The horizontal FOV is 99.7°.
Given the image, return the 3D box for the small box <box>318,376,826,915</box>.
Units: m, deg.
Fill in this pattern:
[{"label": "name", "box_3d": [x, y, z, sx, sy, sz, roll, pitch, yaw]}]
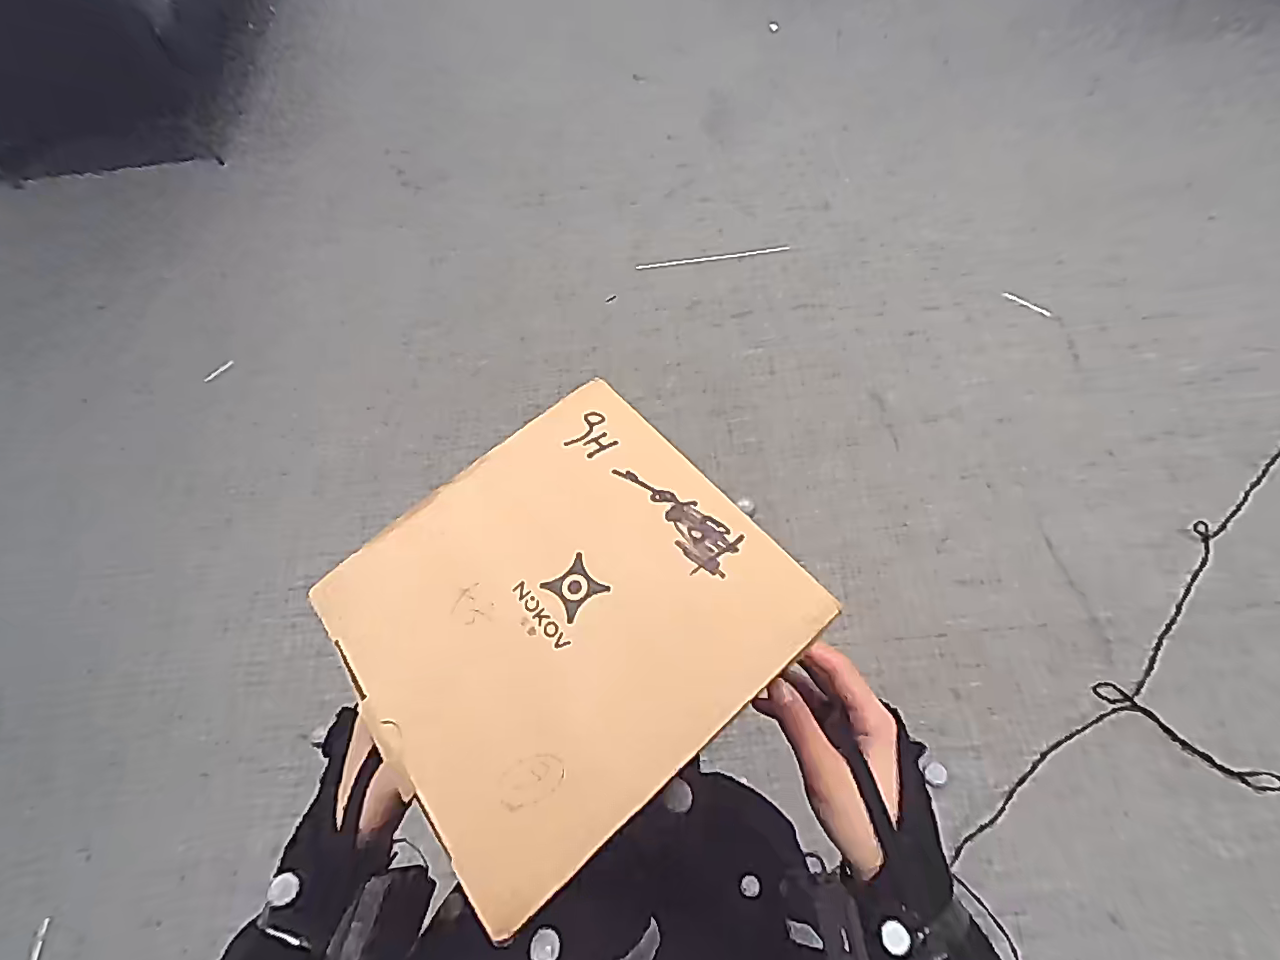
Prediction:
[{"label": "small box", "box_3d": [-0.026, 0.084, 0.307, 0.179, 0.176, 0.168, -39, 65, -12]}]
